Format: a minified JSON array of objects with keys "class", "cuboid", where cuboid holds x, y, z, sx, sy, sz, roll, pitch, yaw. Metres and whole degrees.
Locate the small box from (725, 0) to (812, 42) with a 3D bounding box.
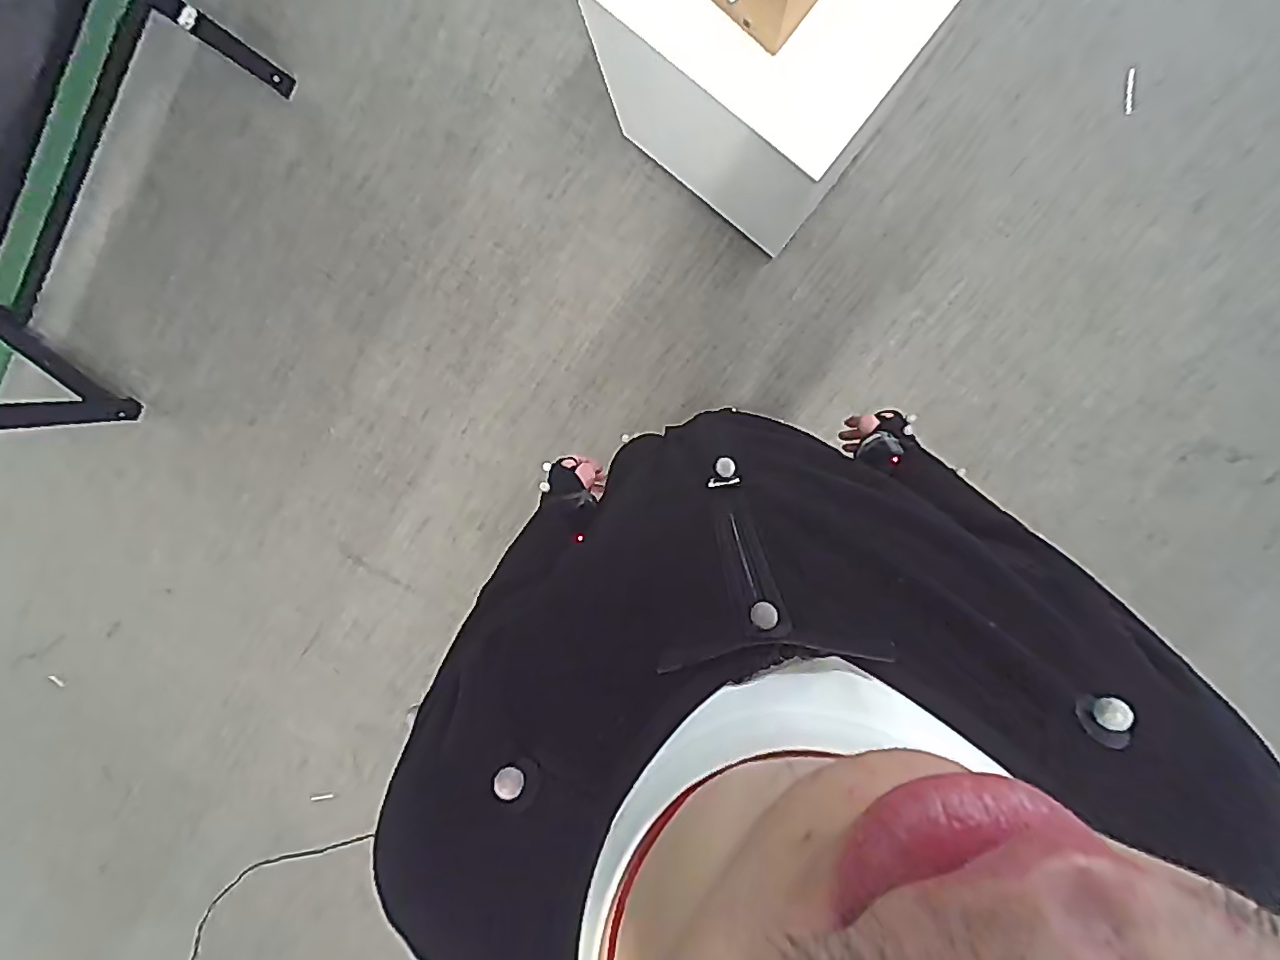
[{"class":"small box","cuboid":[0.194,-0.767,0.740,0.168,0.176,0.179,39,102,-1]}]
